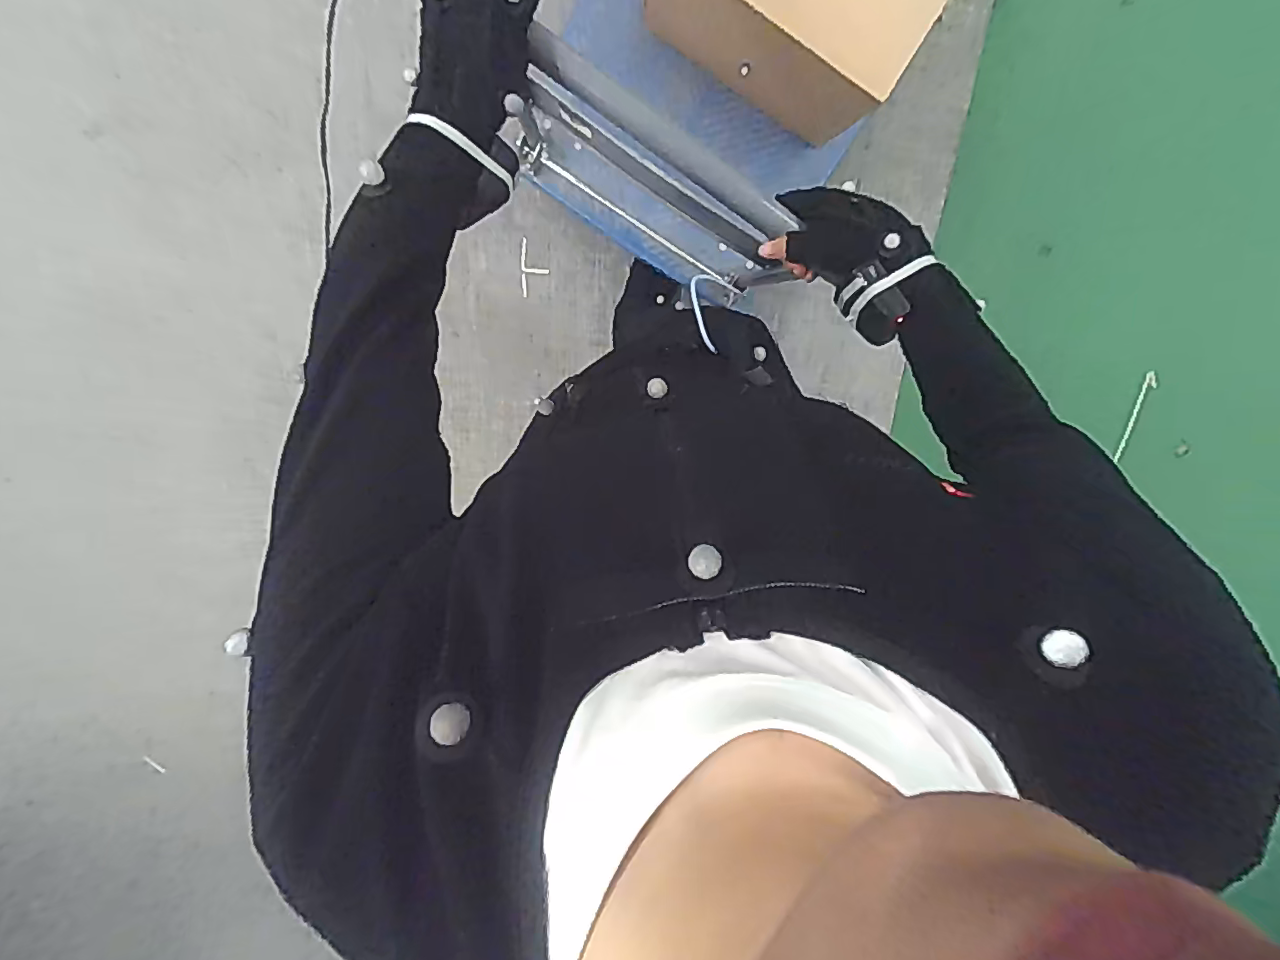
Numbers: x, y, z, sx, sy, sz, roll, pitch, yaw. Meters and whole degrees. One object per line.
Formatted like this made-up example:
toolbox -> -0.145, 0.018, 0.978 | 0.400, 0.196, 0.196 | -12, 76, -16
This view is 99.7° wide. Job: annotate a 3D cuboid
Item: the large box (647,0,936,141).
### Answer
large box -> 0.257, -0.832, 0.870 | 0.408, 0.320, 0.320 | 28, 107, -10
